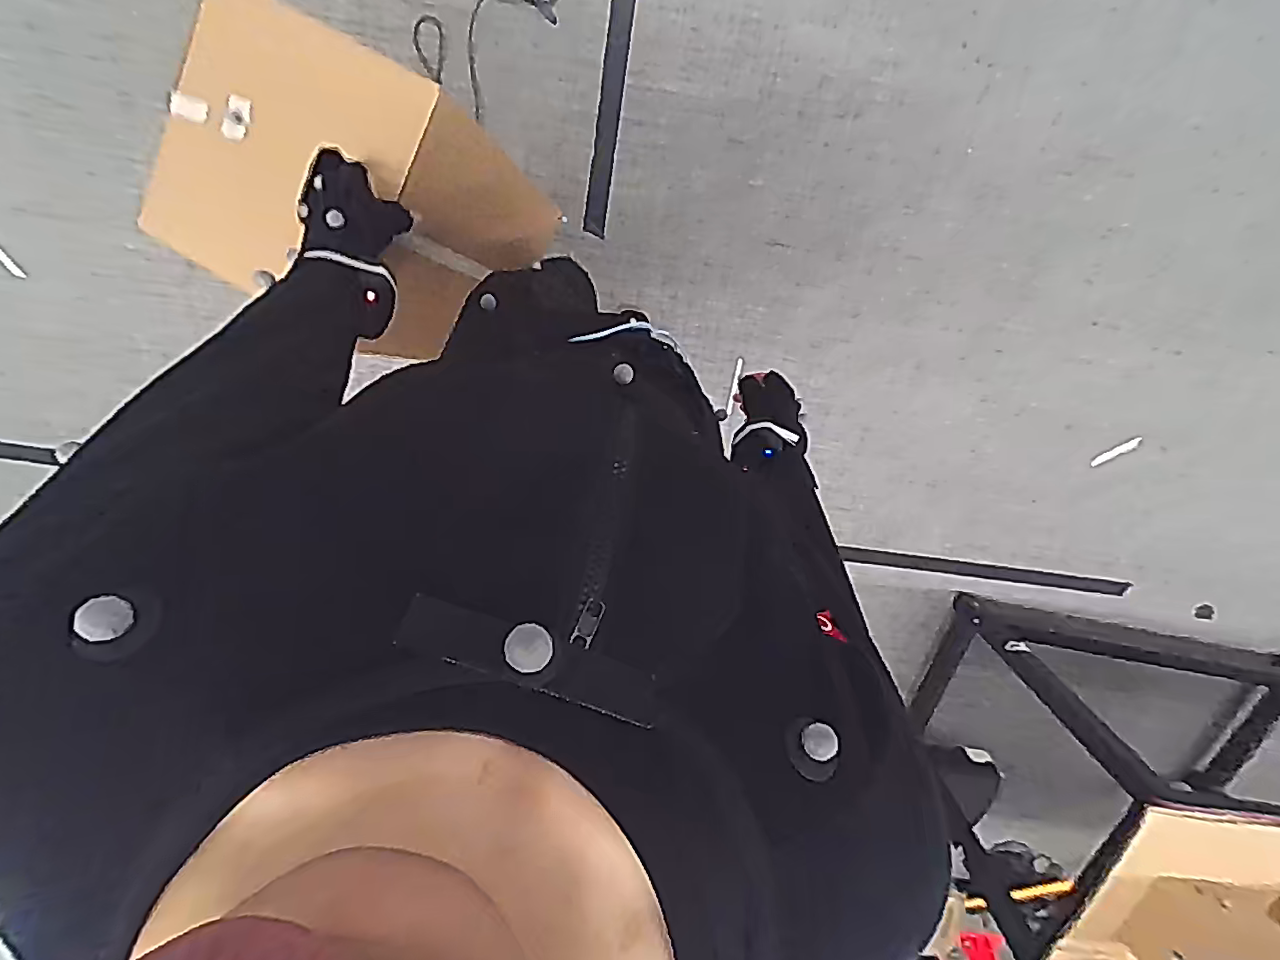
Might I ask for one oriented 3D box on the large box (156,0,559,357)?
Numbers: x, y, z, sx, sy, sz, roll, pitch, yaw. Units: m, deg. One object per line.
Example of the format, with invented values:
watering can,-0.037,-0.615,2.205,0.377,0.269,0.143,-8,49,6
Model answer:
large box,-0.381,-0.406,0.822,0.320,0.408,0.320,32,103,3
